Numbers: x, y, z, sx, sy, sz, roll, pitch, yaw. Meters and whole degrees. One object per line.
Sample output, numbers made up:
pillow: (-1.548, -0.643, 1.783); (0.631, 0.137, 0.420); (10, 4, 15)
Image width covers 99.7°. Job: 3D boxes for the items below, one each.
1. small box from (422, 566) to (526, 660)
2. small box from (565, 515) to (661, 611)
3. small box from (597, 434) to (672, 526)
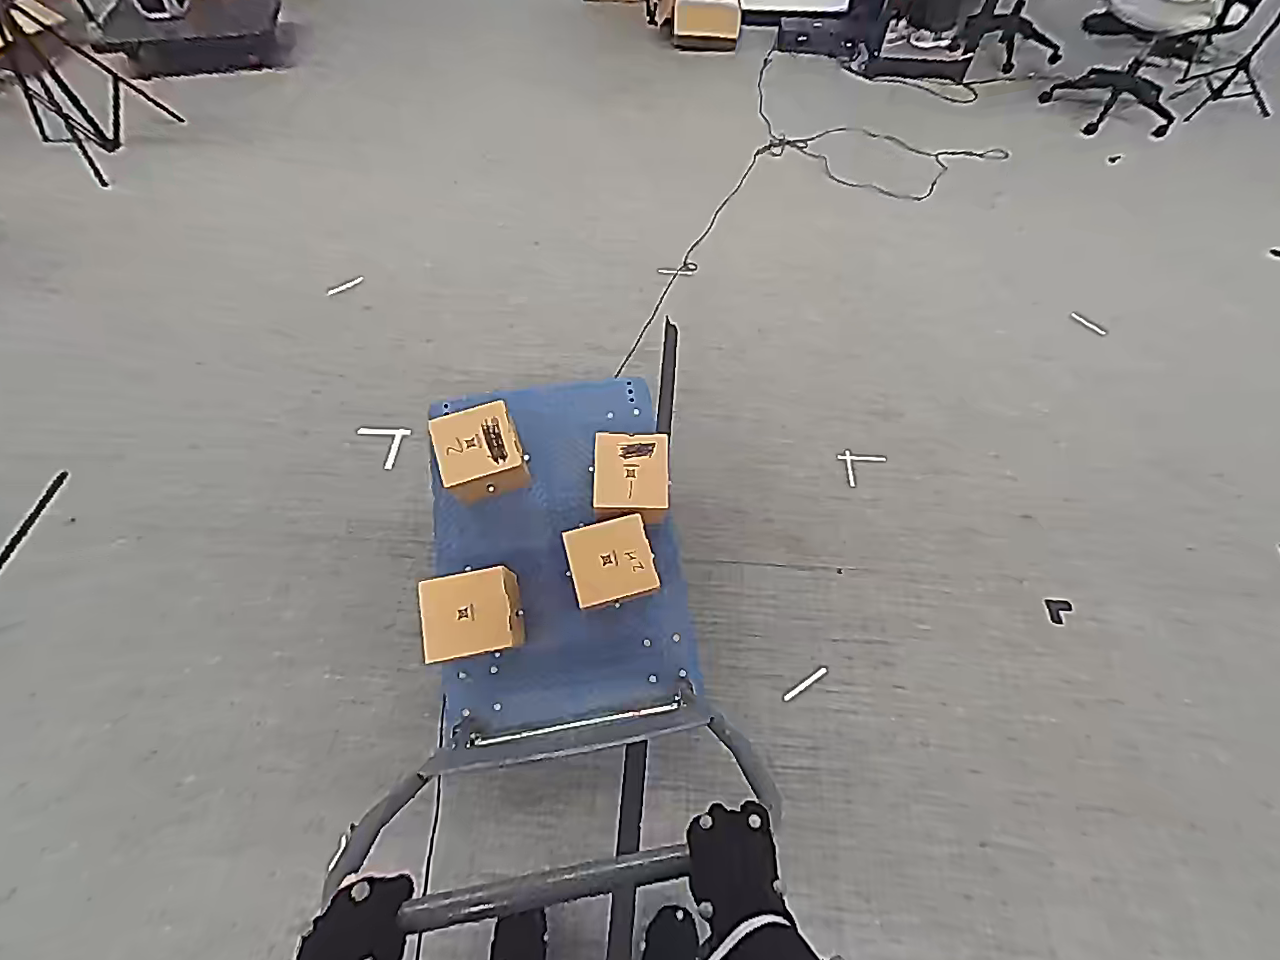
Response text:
small box: (-0.354, 0.293, 1.173); (0.179, 0.176, 0.168); (-10, 74, -7)
small box: (-0.060, 0.193, 1.216); (0.179, 0.176, 0.168); (-14, 74, -6)
small box: (-0.015, 0.004, 1.275); (0.168, 0.176, 0.179); (2, 74, -2)
